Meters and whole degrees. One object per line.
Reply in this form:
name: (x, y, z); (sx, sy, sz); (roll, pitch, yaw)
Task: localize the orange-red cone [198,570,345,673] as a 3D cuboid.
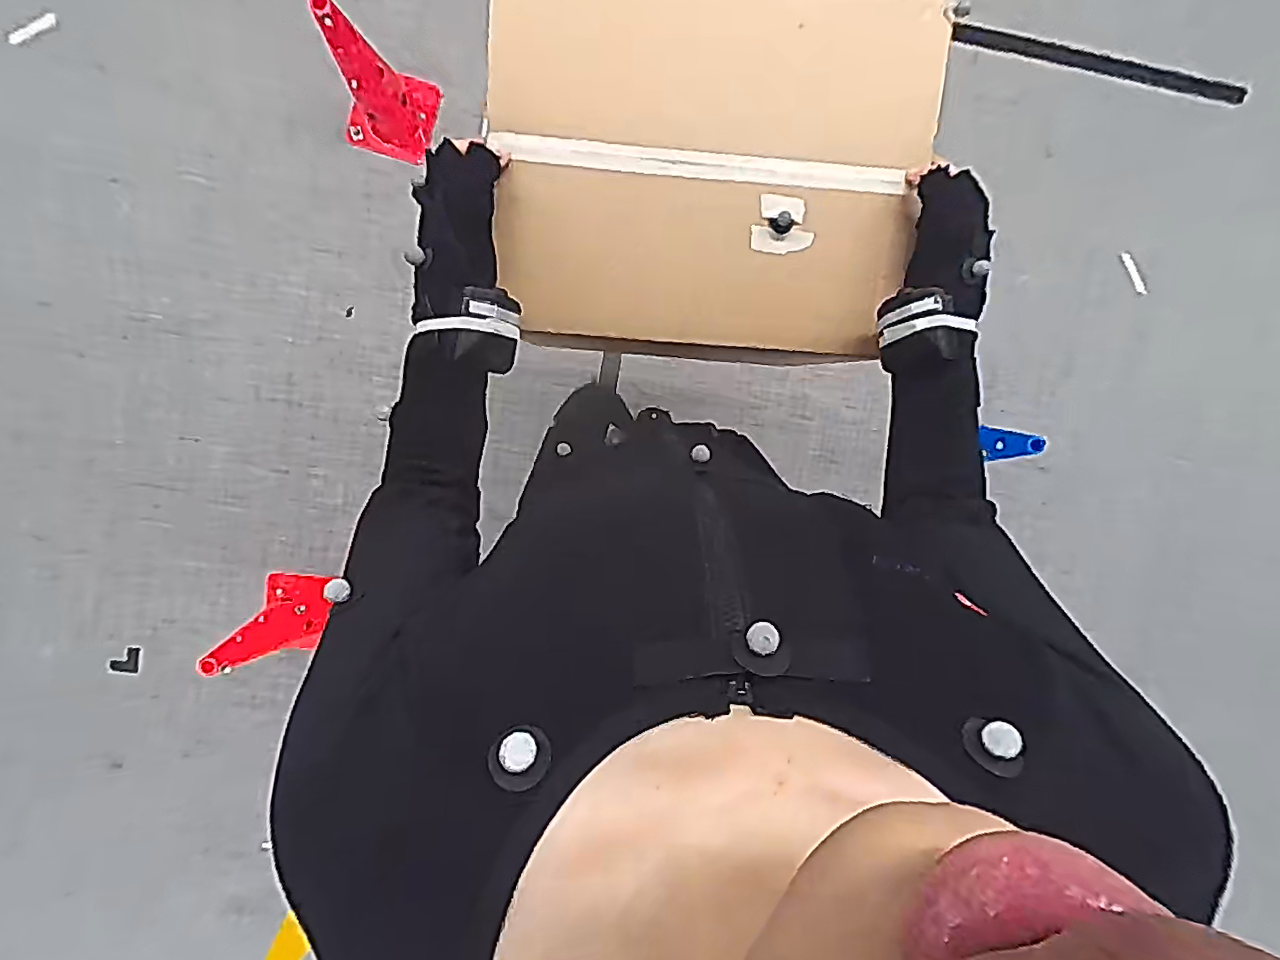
orange-red cone: (-0.881, 0.359, 1.266); (0.198, 0.360, 0.199); (7, 95, -3)

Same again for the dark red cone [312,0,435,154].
dark red cone: (-0.602, -0.906, 1.160); (0.201, 0.394, 0.202); (15, 94, -6)

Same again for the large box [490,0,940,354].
large box: (0.053, -0.322, 0.640); (0.408, 0.320, 0.320); (3, 101, -4)
